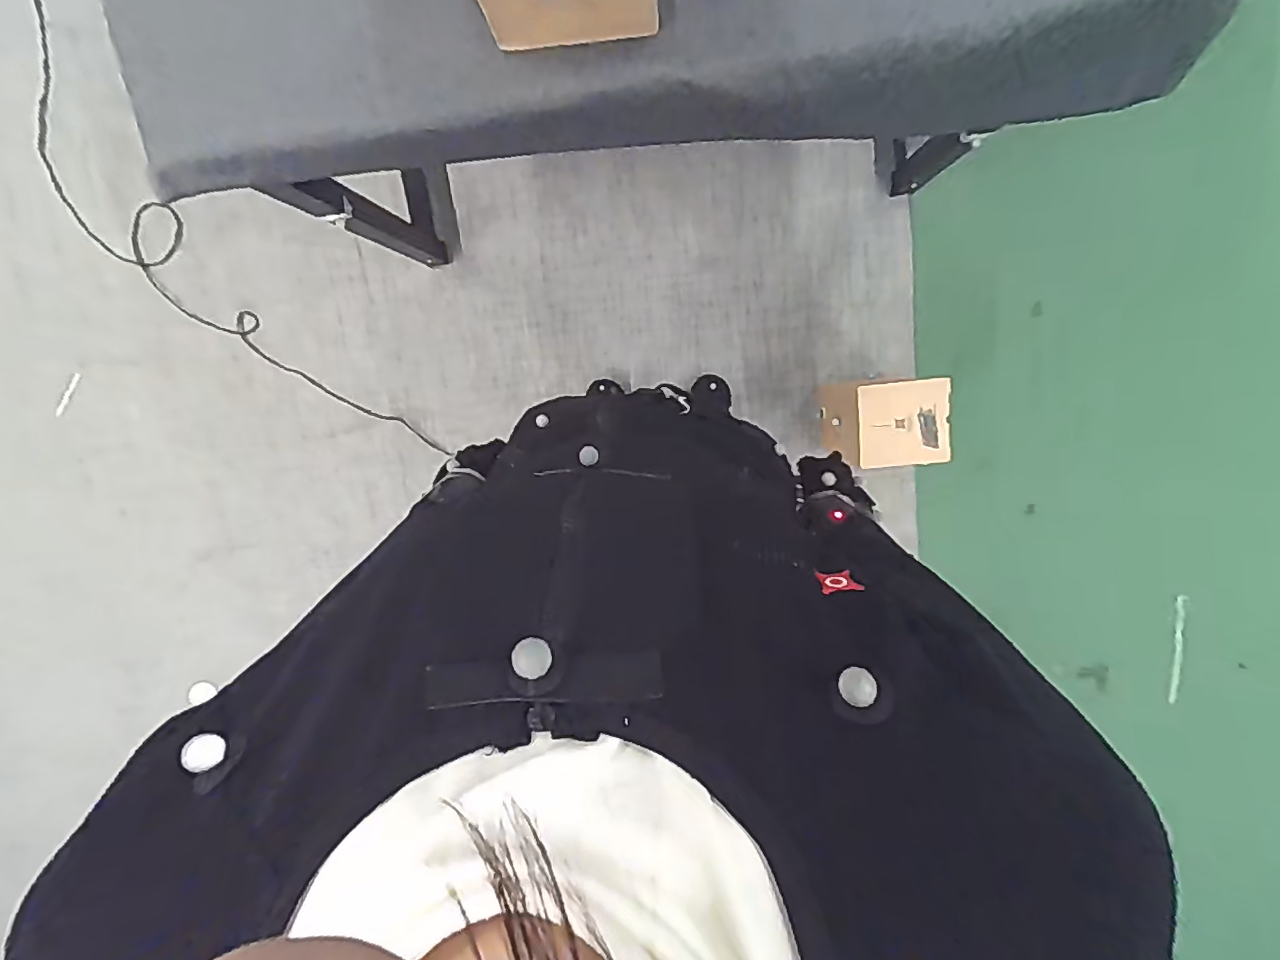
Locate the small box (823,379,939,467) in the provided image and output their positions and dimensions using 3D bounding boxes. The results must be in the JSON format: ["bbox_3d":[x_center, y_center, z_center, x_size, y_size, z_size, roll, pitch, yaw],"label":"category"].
[{"bbox_3d":[0.499,-0.124,1.138,0.179,0.176,0.168,-4,100,4],"label":"small box"}]

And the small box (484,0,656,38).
[{"bbox_3d":[-0.077,-0.550,0.499,0.179,0.176,0.168,-3,100,3],"label":"small box"}]

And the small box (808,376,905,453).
[{"bbox_3d":[0.517,-0.158,1.299,0.179,0.176,0.168,-6,100,5],"label":"small box"}]
